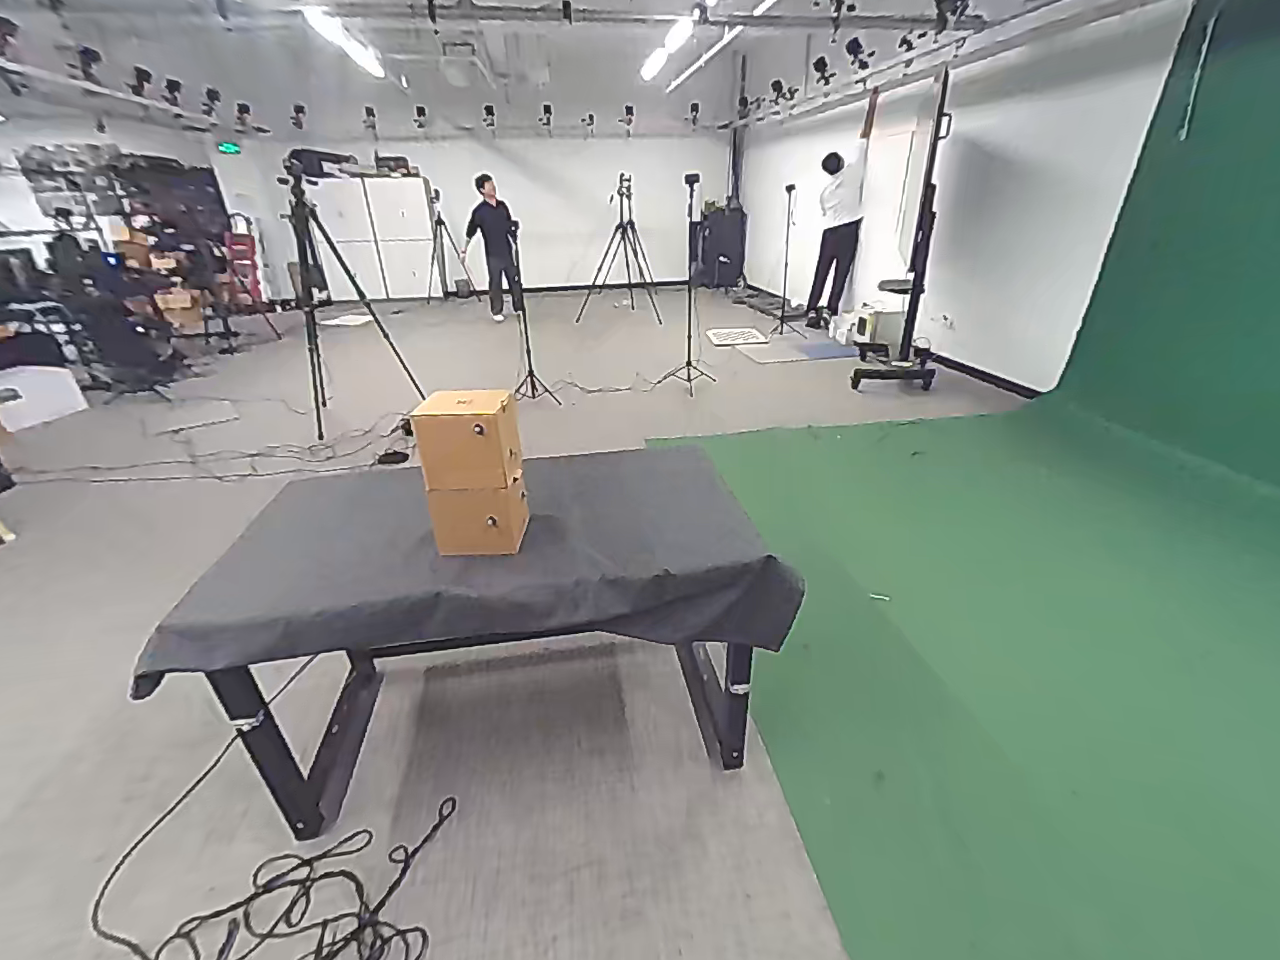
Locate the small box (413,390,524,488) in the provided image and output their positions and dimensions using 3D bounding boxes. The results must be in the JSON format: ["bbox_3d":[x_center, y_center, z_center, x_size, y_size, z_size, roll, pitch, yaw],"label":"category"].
[{"bbox_3d":[-0.358,-0.088,1.164,0.179,0.176,0.168,-1,26,0],"label":"small box"}]

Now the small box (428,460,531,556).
[{"bbox_3d":[-0.354,0.060,1.232,0.179,0.176,0.168,-2,26,0],"label":"small box"}]
